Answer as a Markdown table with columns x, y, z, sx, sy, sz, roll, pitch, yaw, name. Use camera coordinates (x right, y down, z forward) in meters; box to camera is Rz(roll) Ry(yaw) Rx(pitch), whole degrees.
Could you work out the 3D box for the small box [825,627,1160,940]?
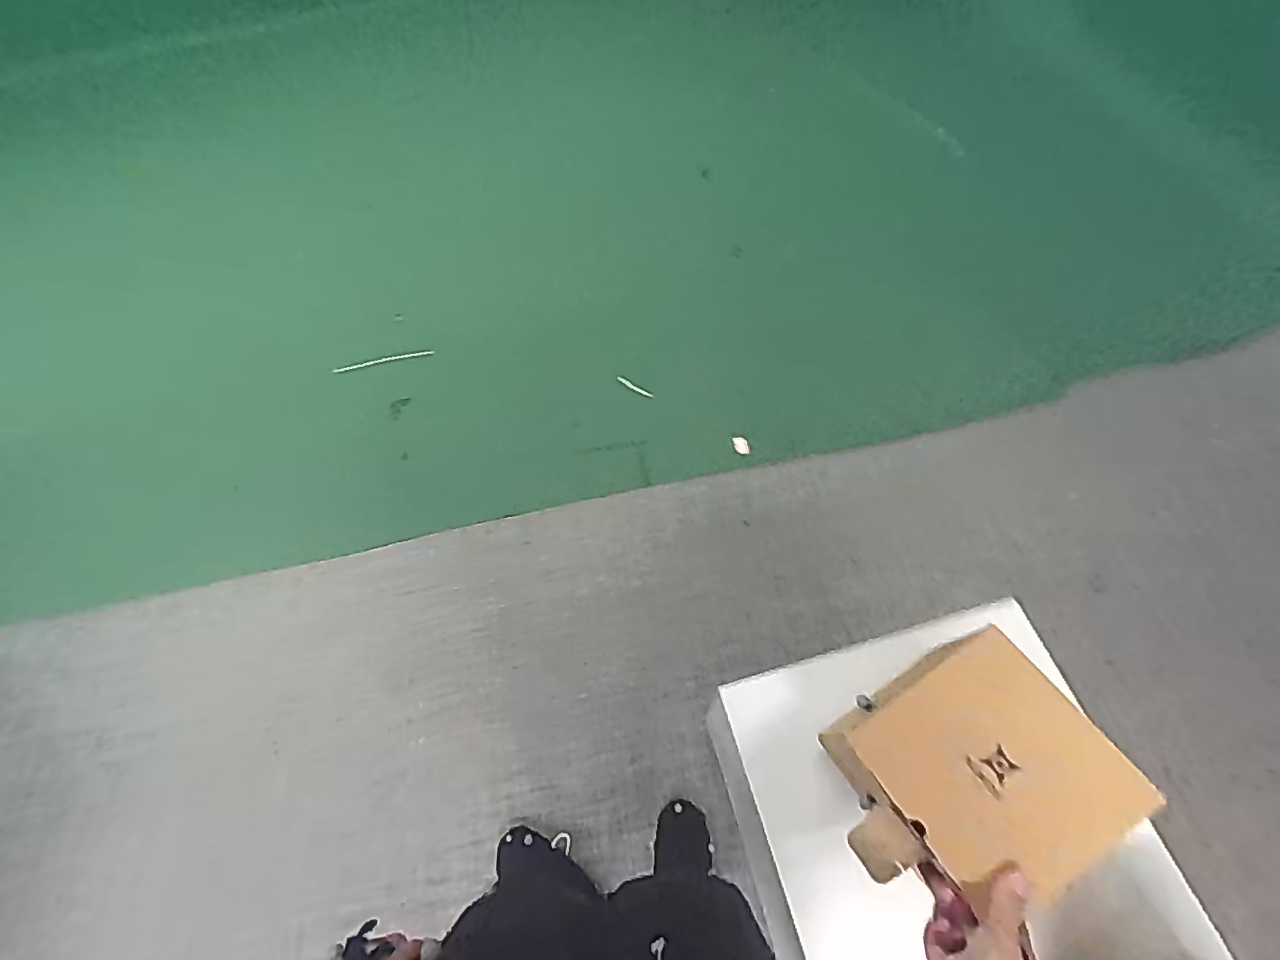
| x | y | z | sx | sy | sz | roll | pitch | yaw | name |
| --- | --- | --- | --- | --- | --- | --- | --- | --- | --- |
| 0.301 | 0.267 | 0.512 | 0.179 | 0.176 | 0.168 | -34 | 64 | -6 | small box |
